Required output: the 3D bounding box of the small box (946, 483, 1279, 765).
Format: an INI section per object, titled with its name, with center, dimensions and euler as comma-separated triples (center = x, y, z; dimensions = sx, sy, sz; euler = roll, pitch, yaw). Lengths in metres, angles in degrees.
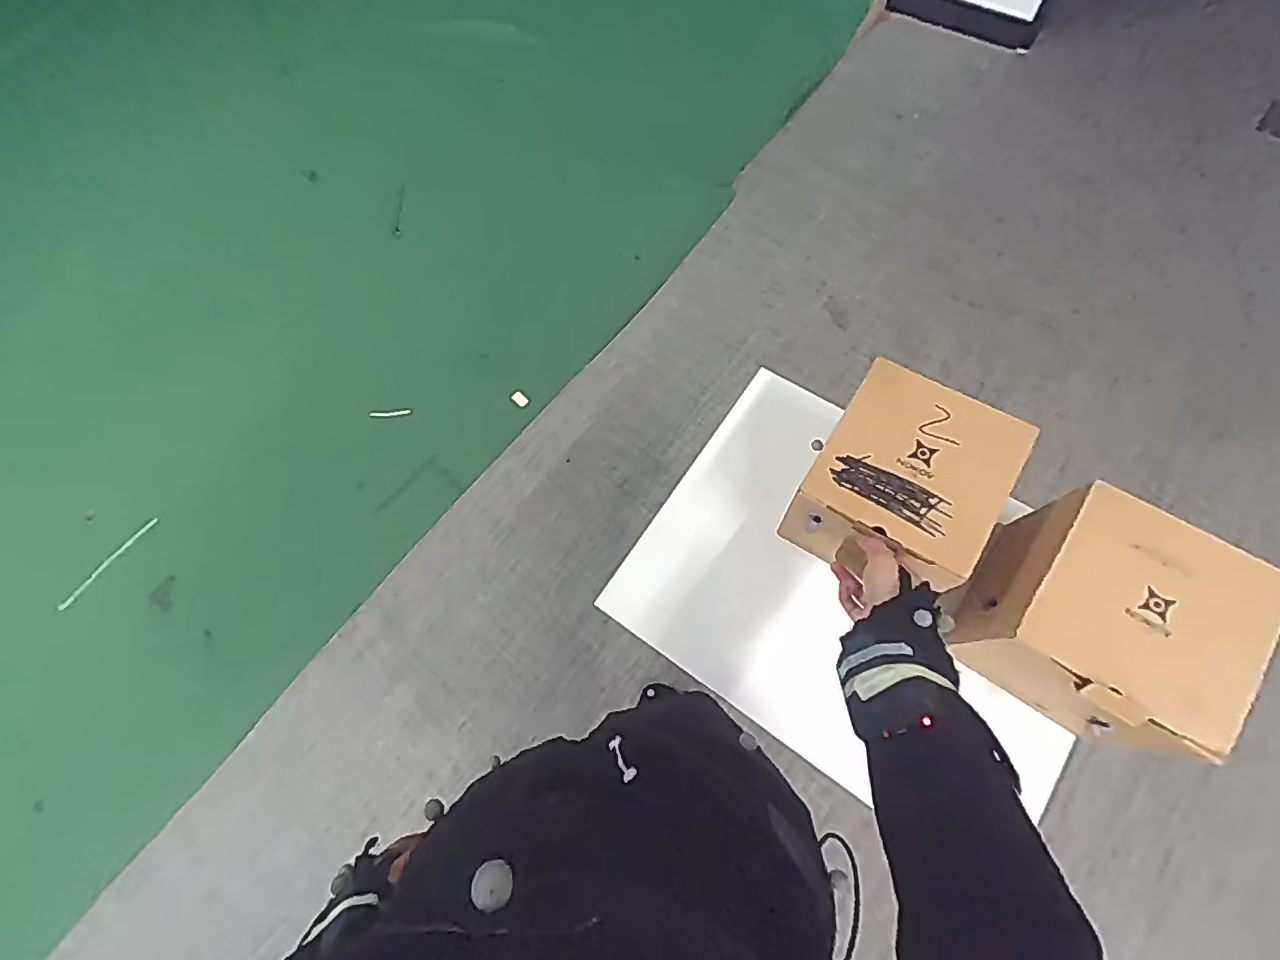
[small box]
center = 0.435, 0.138, 0.527
dimensions = 0.168, 0.176, 0.179
euler = 32, 76, 15
